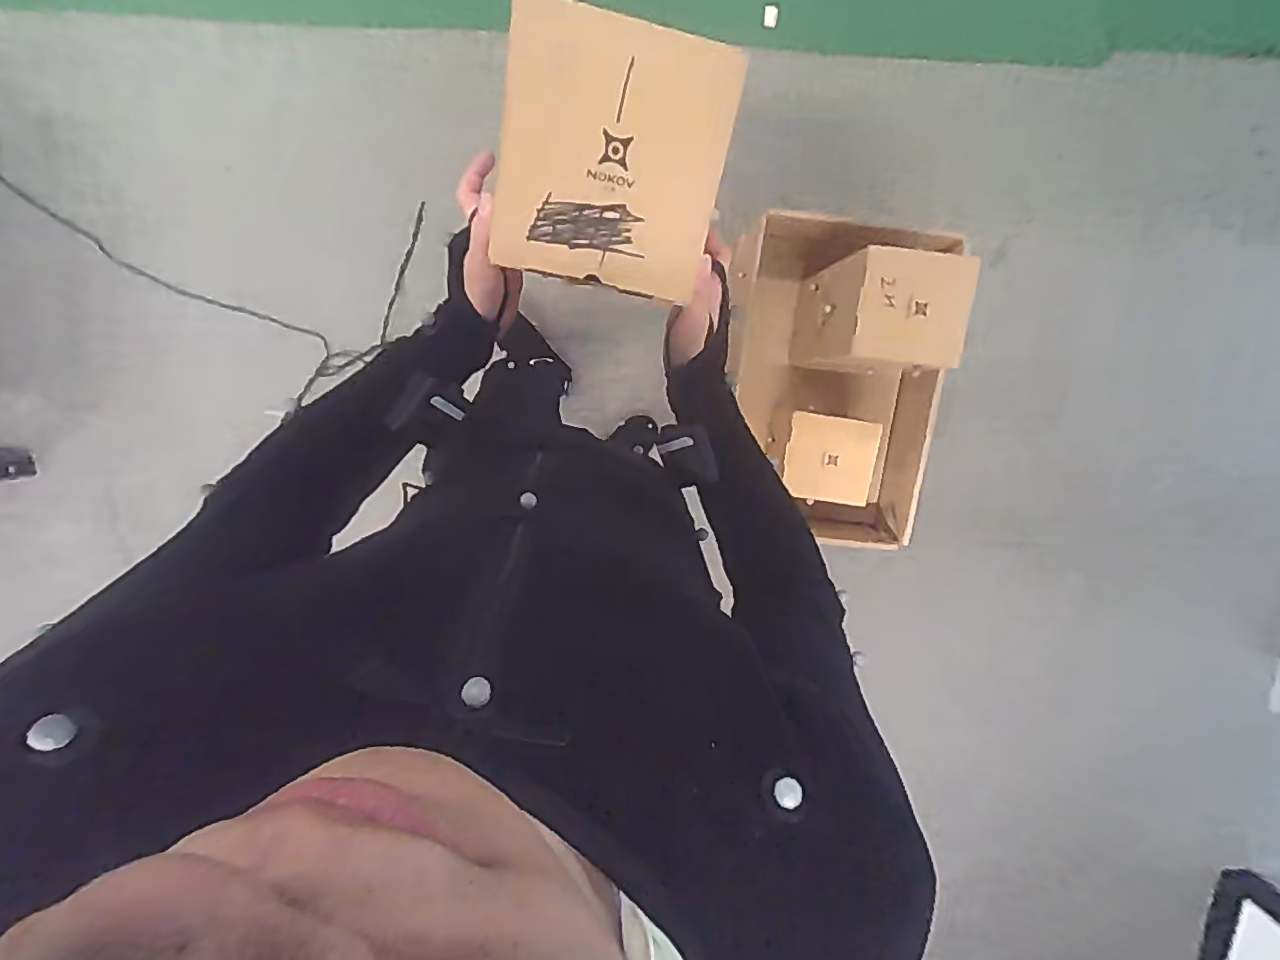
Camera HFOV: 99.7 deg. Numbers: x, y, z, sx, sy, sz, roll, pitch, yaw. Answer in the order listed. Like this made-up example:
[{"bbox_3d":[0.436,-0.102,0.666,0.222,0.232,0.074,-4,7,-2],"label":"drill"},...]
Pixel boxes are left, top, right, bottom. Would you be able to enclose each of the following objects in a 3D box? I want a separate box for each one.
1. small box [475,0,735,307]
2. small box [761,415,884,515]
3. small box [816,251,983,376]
[{"bbox_3d":[-0.033,-0.261,0.463,0.168,0.176,0.179,10,112,-7],"label":"small box"},{"bbox_3d":[0.362,-0.038,1.104,0.179,0.176,0.168,8,100,-1],"label":"small box"},{"bbox_3d":[0.415,-0.265,0.894,0.179,0.176,0.168,6,100,-2],"label":"small box"}]
